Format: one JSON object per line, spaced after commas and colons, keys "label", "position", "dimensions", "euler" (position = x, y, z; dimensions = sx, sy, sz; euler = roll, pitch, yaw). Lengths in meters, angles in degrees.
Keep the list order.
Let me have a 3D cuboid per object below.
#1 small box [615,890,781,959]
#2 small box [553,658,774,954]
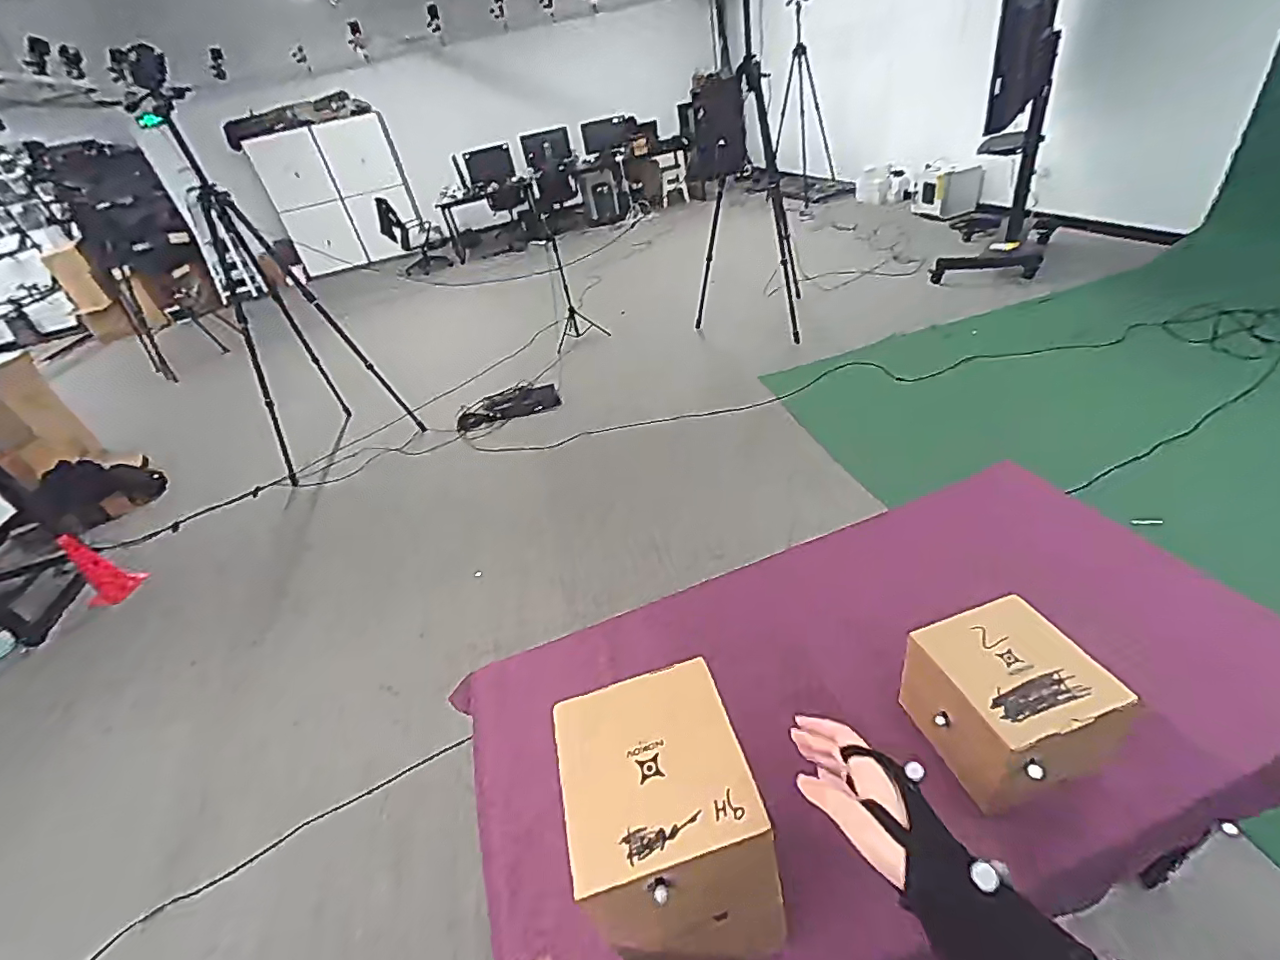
{"label": "small box", "position": [0.054, 0.450, 0.637], "dimensions": [0.168, 0.176, 0.179], "euler": [-17, 36, -4]}
{"label": "small box", "position": [0.021, 0.319, 0.541], "dimensions": [0.168, 0.176, 0.179], "euler": [-18, 35, -3]}
